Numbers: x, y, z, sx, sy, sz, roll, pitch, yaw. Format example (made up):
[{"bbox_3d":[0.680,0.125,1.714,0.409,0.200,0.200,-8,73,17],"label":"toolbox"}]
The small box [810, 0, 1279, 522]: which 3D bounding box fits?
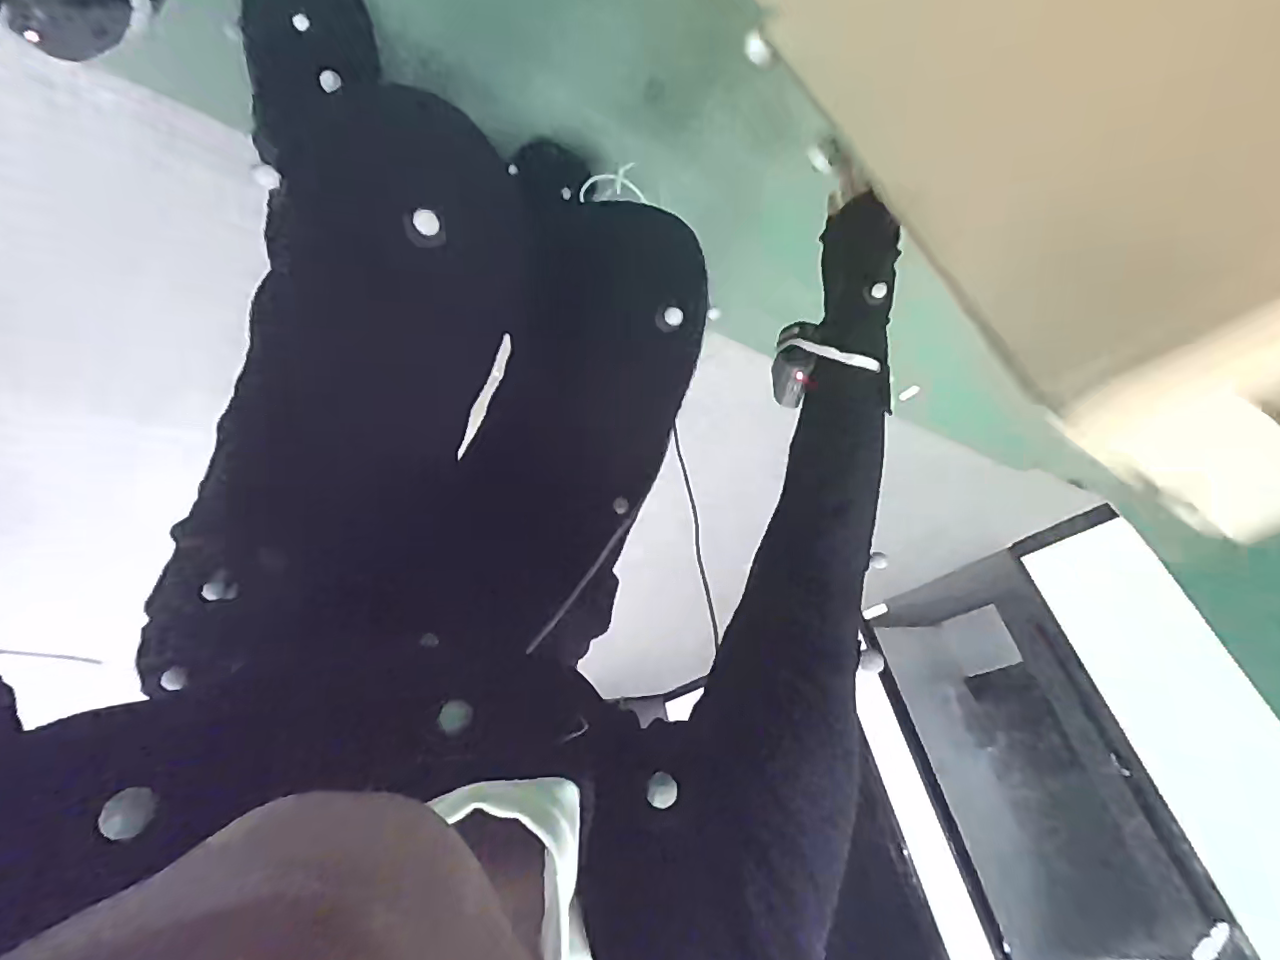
[{"bbox_3d":[0.169,-0.111,0.139,0.168,0.176,0.179,12,142,-36],"label":"small box"}]
